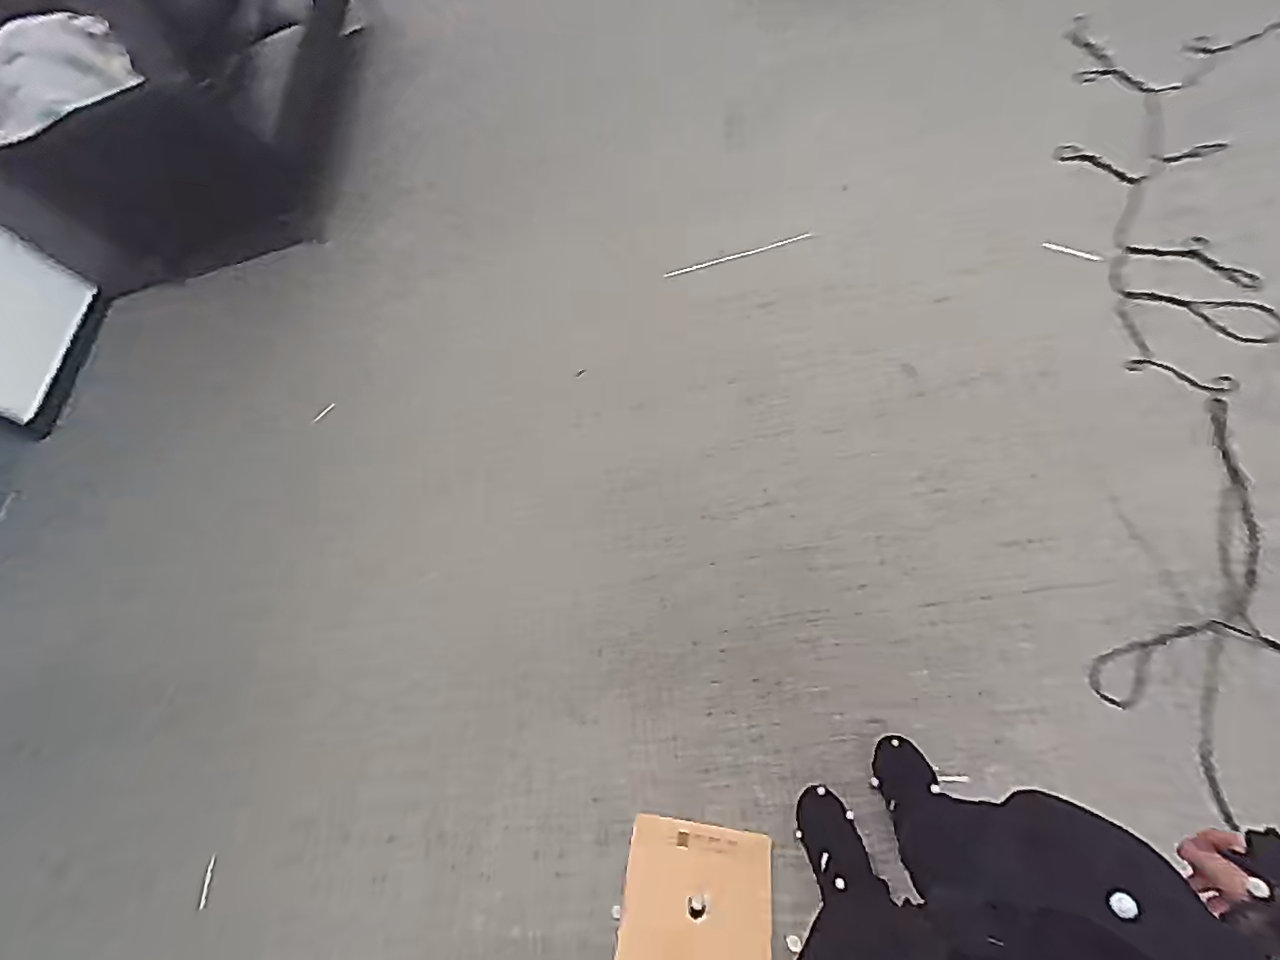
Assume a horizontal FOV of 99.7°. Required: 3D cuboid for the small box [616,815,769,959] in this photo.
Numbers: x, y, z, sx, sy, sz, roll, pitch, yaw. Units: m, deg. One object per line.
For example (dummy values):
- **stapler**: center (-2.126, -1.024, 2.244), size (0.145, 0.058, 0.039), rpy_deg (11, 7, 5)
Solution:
- **small box**: center (0.061, 0.525, 0.660), size (0.168, 0.179, 0.176), rpy_deg (6, 51, 6)
